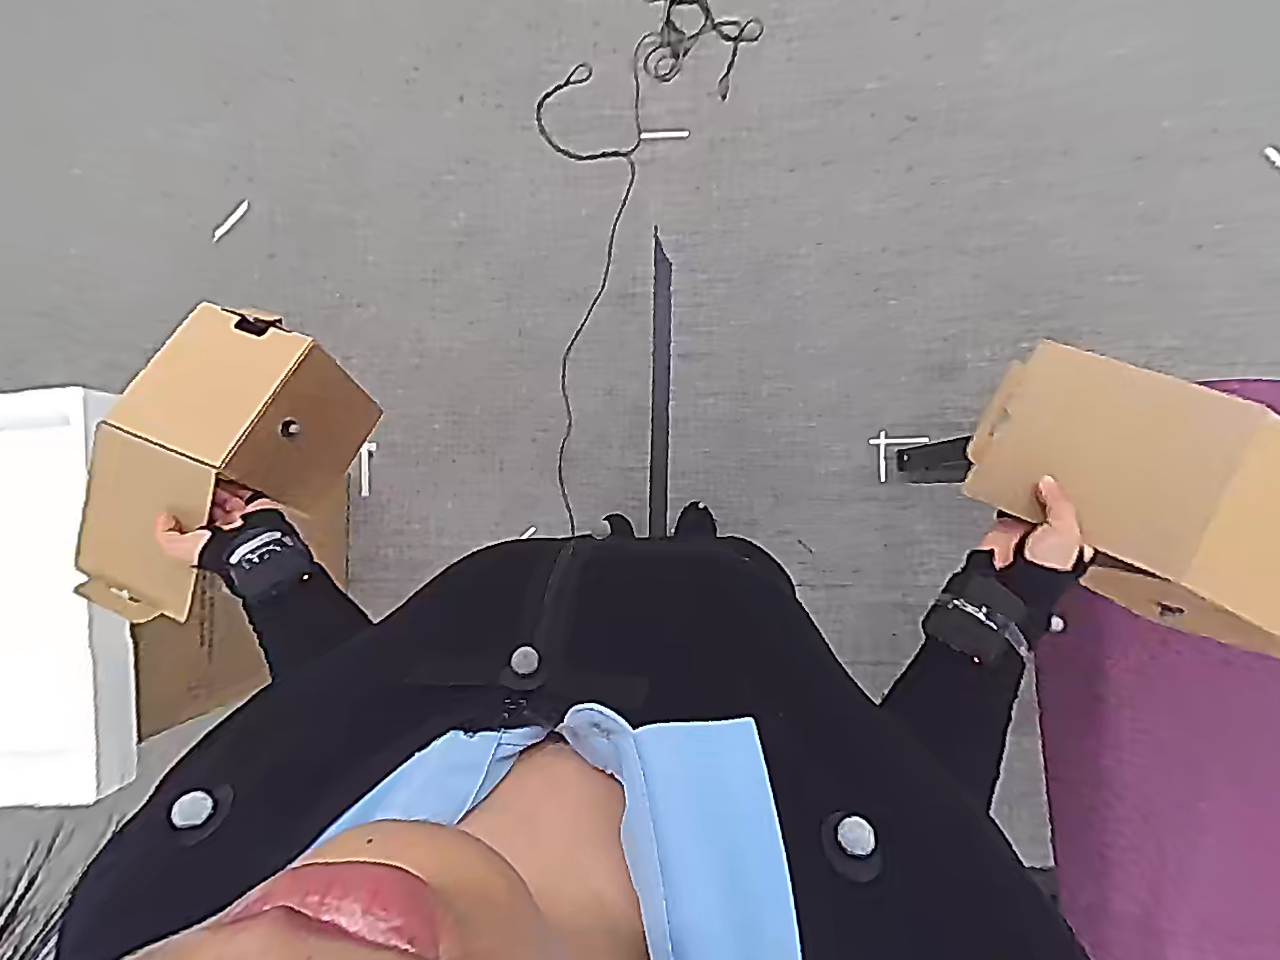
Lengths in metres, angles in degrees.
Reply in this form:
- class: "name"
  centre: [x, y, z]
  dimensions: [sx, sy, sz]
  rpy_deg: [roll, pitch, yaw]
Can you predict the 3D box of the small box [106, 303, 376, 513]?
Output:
- class: "small box"
  centre: [-0.468, -0.079, 0.670]
  dimensions: [0.168, 0.176, 0.179]
  rpy_deg: [20, 70, 10]
